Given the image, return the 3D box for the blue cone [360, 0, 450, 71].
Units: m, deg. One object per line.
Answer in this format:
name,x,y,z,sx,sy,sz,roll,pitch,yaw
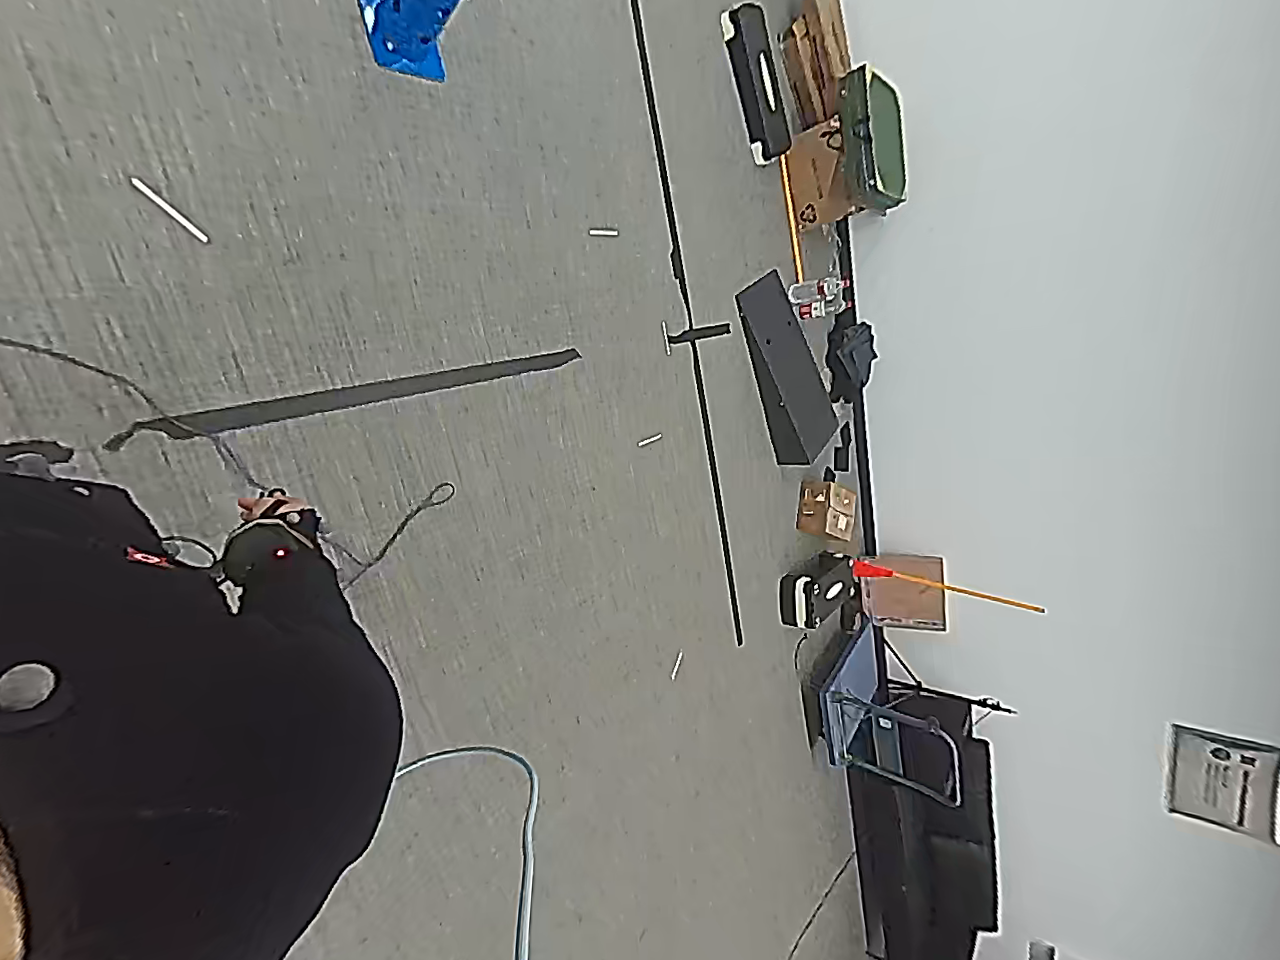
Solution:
blue cone,-0.489,-1.161,1.273,0.193,0.380,0.192,-25,109,-47
